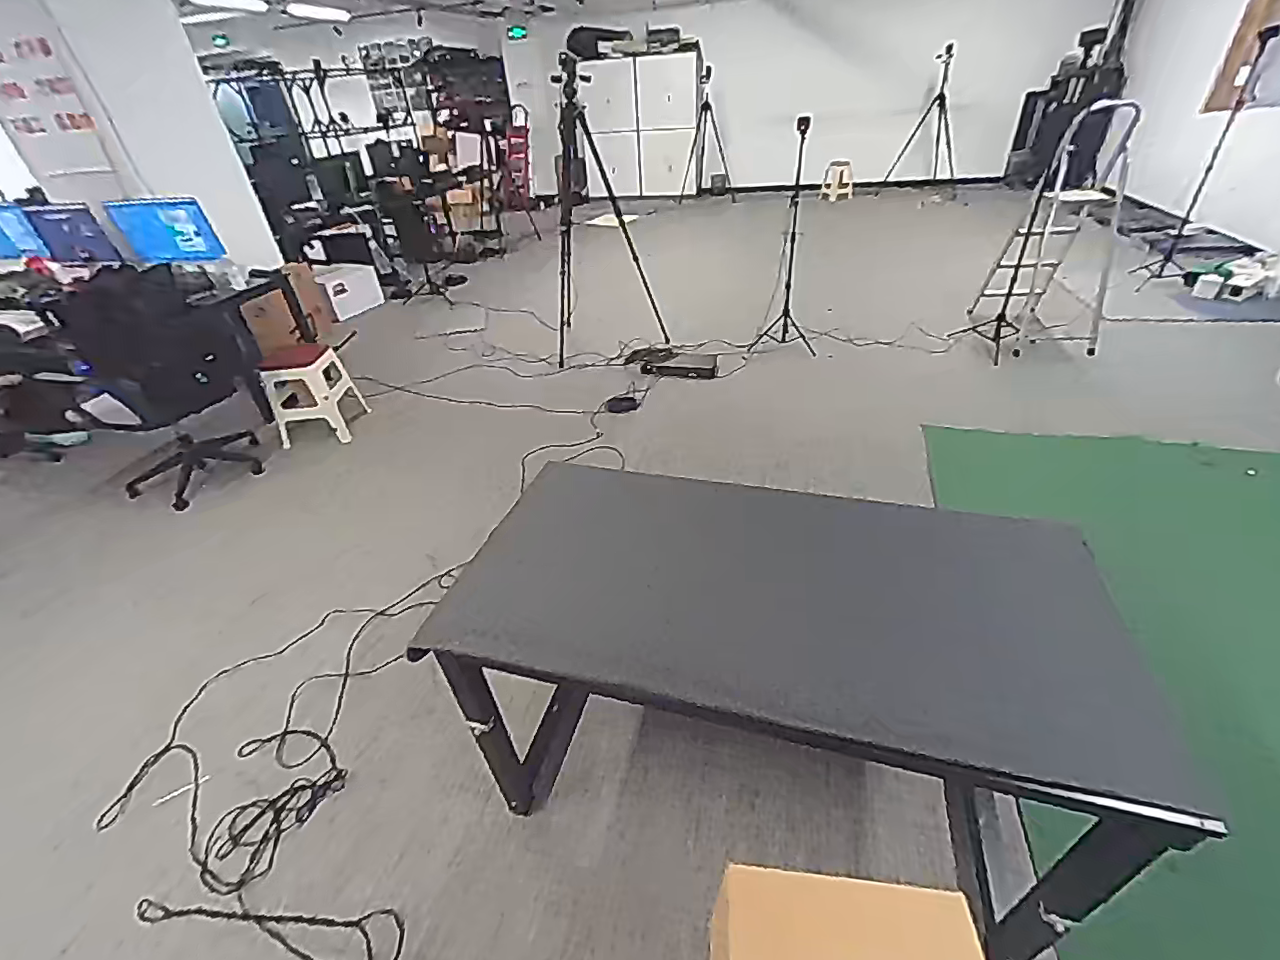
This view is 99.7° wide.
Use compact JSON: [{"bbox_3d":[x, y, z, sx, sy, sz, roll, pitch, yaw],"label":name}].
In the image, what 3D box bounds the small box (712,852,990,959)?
[{"bbox_3d":[0.135,0.391,0.365,0.168,0.176,0.179,4,39,6],"label":"small box"}]
